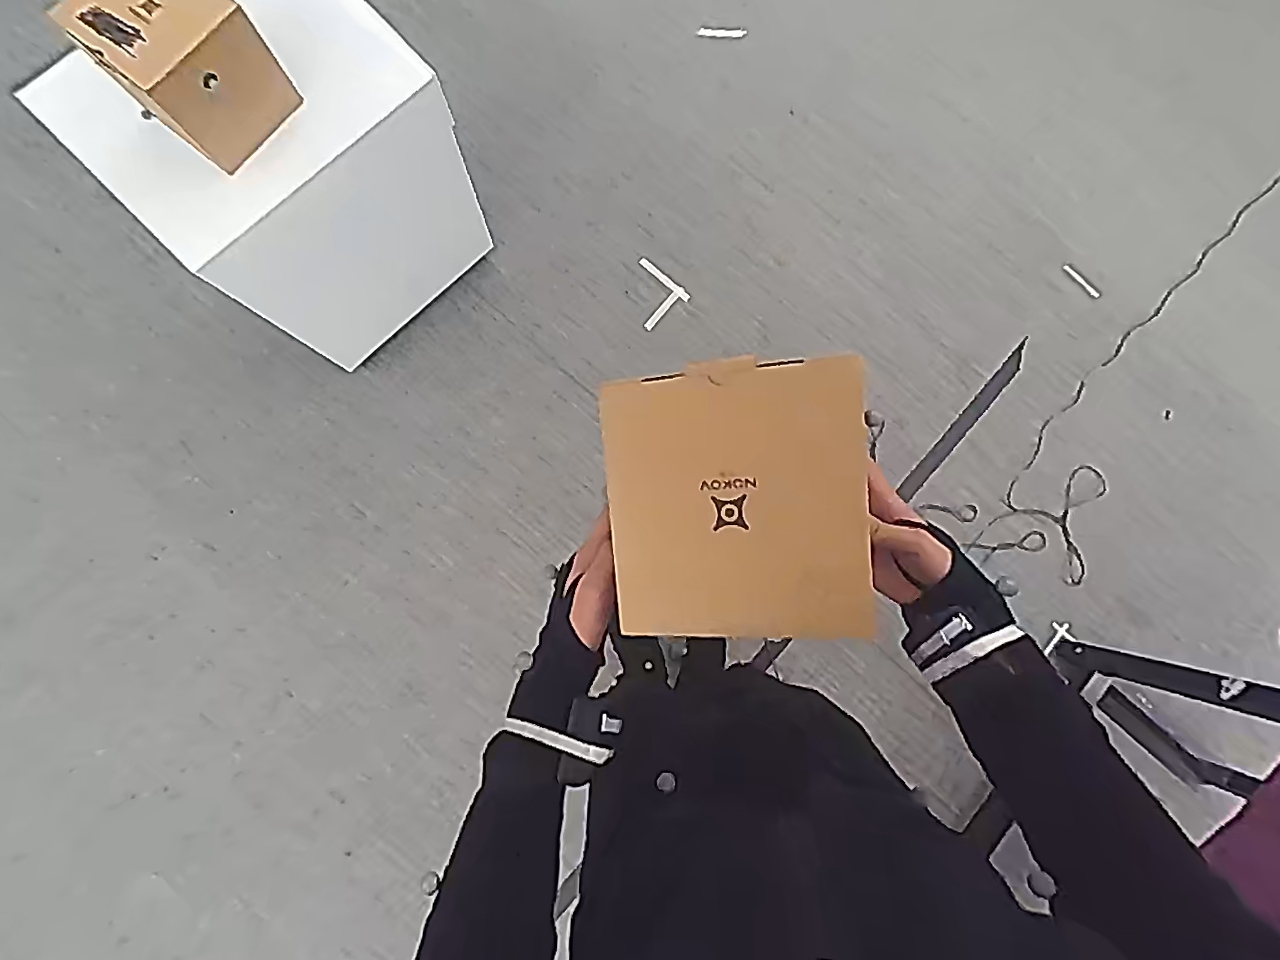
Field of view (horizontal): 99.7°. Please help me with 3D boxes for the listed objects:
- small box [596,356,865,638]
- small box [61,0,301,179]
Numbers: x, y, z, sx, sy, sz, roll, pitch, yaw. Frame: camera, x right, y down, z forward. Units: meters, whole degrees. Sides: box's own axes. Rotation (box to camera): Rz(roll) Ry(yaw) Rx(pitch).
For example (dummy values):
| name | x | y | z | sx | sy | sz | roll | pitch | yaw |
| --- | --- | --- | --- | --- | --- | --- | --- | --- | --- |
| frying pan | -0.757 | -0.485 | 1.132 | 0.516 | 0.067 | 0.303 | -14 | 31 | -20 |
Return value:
| name | x | y | z | sx | sy | sz | roll | pitch | yaw |
| --- | --- | --- | --- | --- | --- | --- | --- | --- | --- |
| small box | 0.077 | 0.009 | 0.424 | 0.168 | 0.176 | 0.179 | -4 | 94 | 16 |
| small box | -0.657 | -0.598 | 0.803 | 0.168 | 0.176 | 0.179 | 38 | 82 | -1 |
